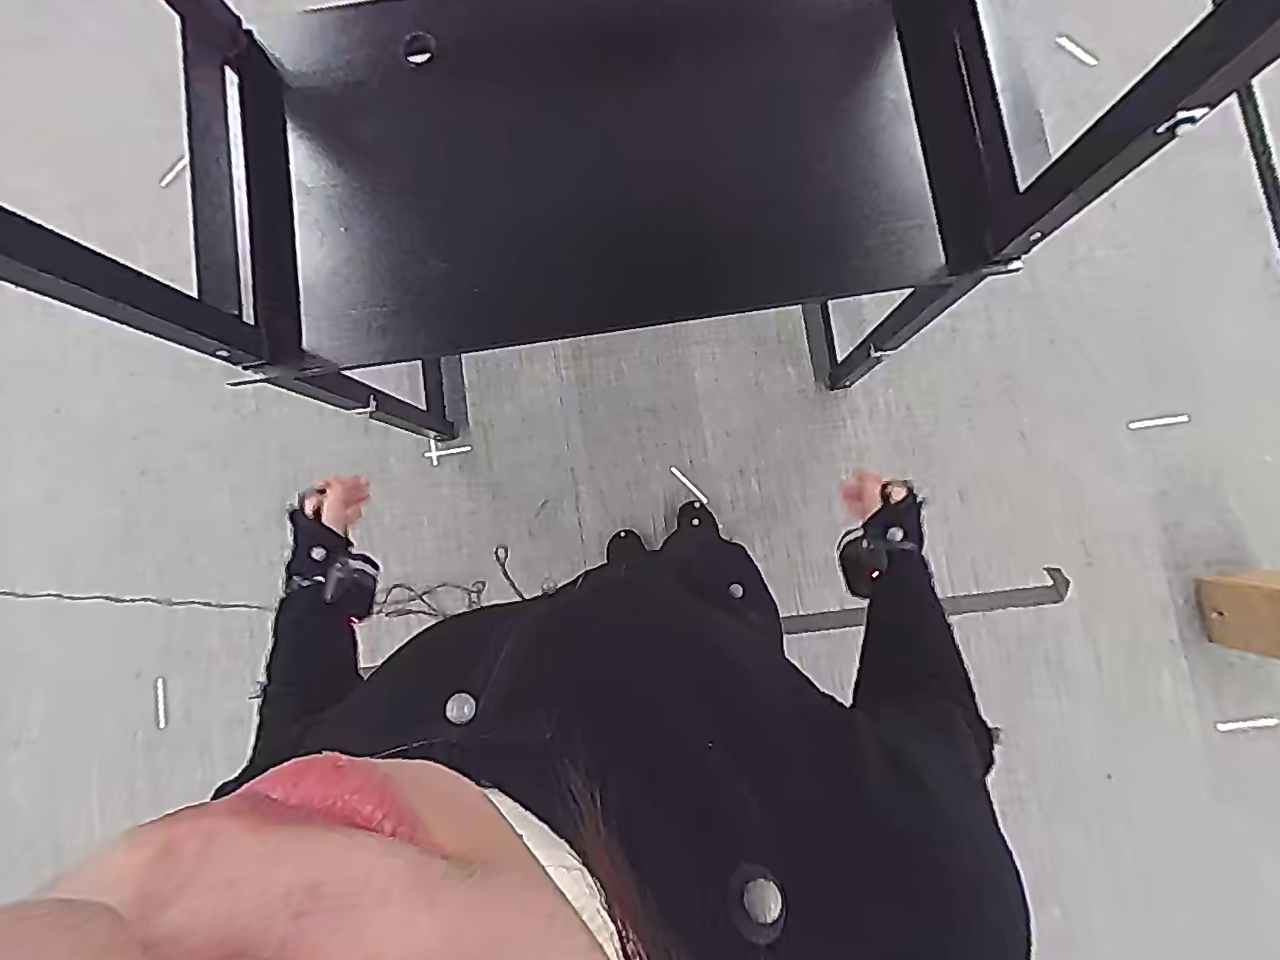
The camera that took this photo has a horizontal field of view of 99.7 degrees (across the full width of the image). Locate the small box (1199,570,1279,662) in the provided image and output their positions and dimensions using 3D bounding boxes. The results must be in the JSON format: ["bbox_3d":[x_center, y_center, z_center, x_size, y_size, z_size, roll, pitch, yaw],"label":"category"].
[{"bbox_3d":[1.538,0.326,1.318,0.168,0.176,0.179,-8,86,3],"label":"small box"}]

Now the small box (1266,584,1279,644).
[{"bbox_3d":[1.526,0.313,1.155,0.168,0.176,0.179,-10,85,2],"label":"small box"}]
